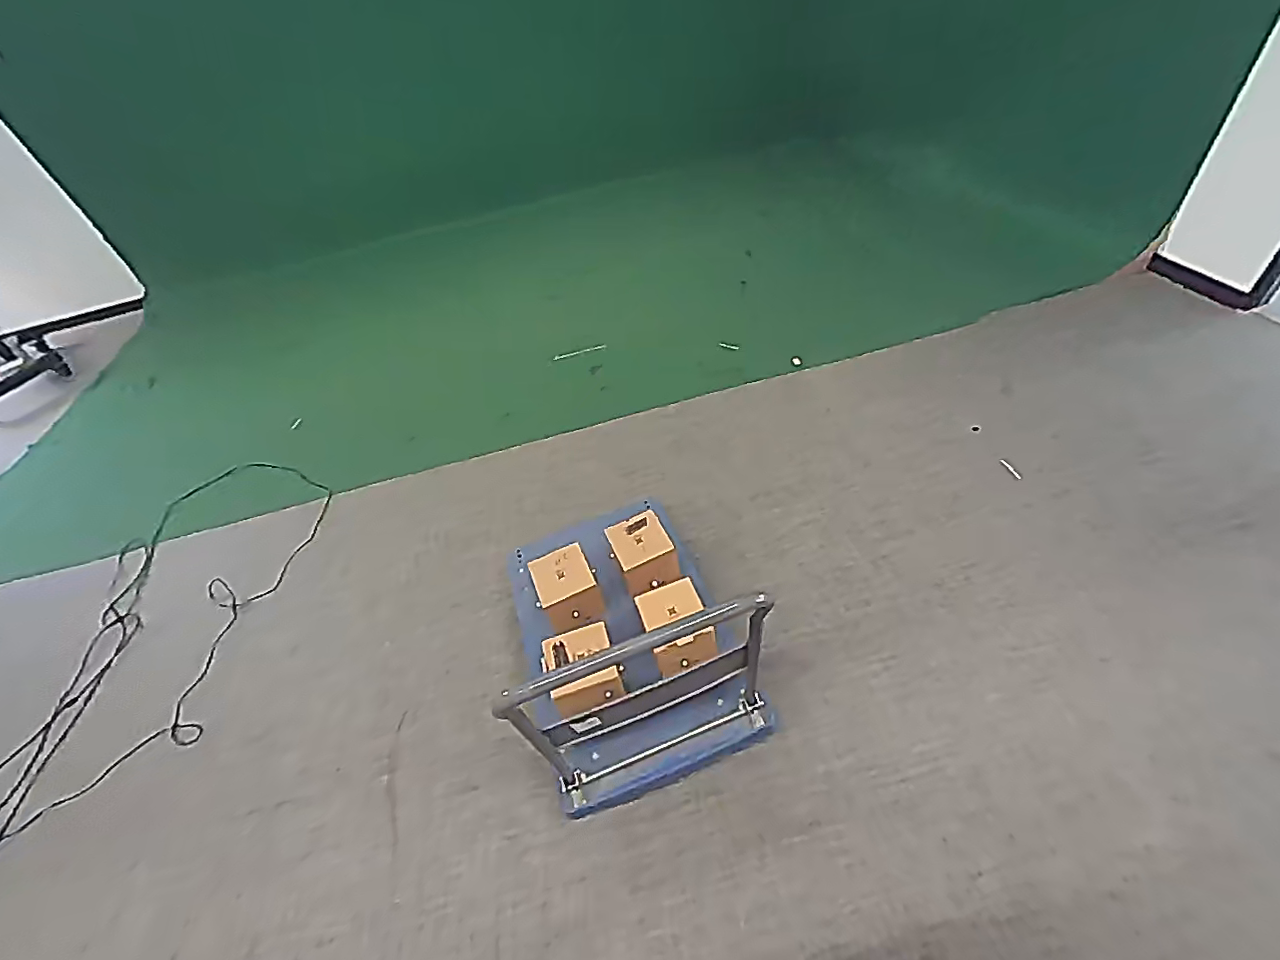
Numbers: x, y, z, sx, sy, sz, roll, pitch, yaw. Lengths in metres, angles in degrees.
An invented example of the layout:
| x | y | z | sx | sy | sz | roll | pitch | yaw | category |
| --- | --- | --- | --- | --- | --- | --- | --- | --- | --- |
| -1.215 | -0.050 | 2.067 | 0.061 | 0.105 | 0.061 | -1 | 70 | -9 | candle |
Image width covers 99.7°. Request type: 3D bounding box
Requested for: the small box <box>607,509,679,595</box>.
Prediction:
| x | y | z | sx | sy | sz | roll | pitch | yaw | category |
| --- | --- | --- | --- | --- | --- | --- | --- | --- | --- |
| 0.011 | 0.230 | 1.703 | 0.168 | 0.176 | 0.179 | -23 | 48 | -9 | small box |

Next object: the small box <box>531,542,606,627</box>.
| x | y | z | sx | sy | sz | roll | pitch | yaw | category |
| --- | --- | --- | --- | --- | --- | --- | --- | --- | --- |
| -0.217 | 0.329 | 1.660 | 0.168 | 0.176 | 0.179 | -22 | 47 | -10 | small box |

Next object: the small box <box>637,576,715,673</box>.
| x | y | z | sx | sy | sz | roll | pitch | yaw | category |
| --- | --- | --- | --- | --- | --- | --- | --- | --- | --- |
| 0.102 | 0.408 | 1.520 | 0.168 | 0.176 | 0.179 | -20 | 47 | -7 | small box |
